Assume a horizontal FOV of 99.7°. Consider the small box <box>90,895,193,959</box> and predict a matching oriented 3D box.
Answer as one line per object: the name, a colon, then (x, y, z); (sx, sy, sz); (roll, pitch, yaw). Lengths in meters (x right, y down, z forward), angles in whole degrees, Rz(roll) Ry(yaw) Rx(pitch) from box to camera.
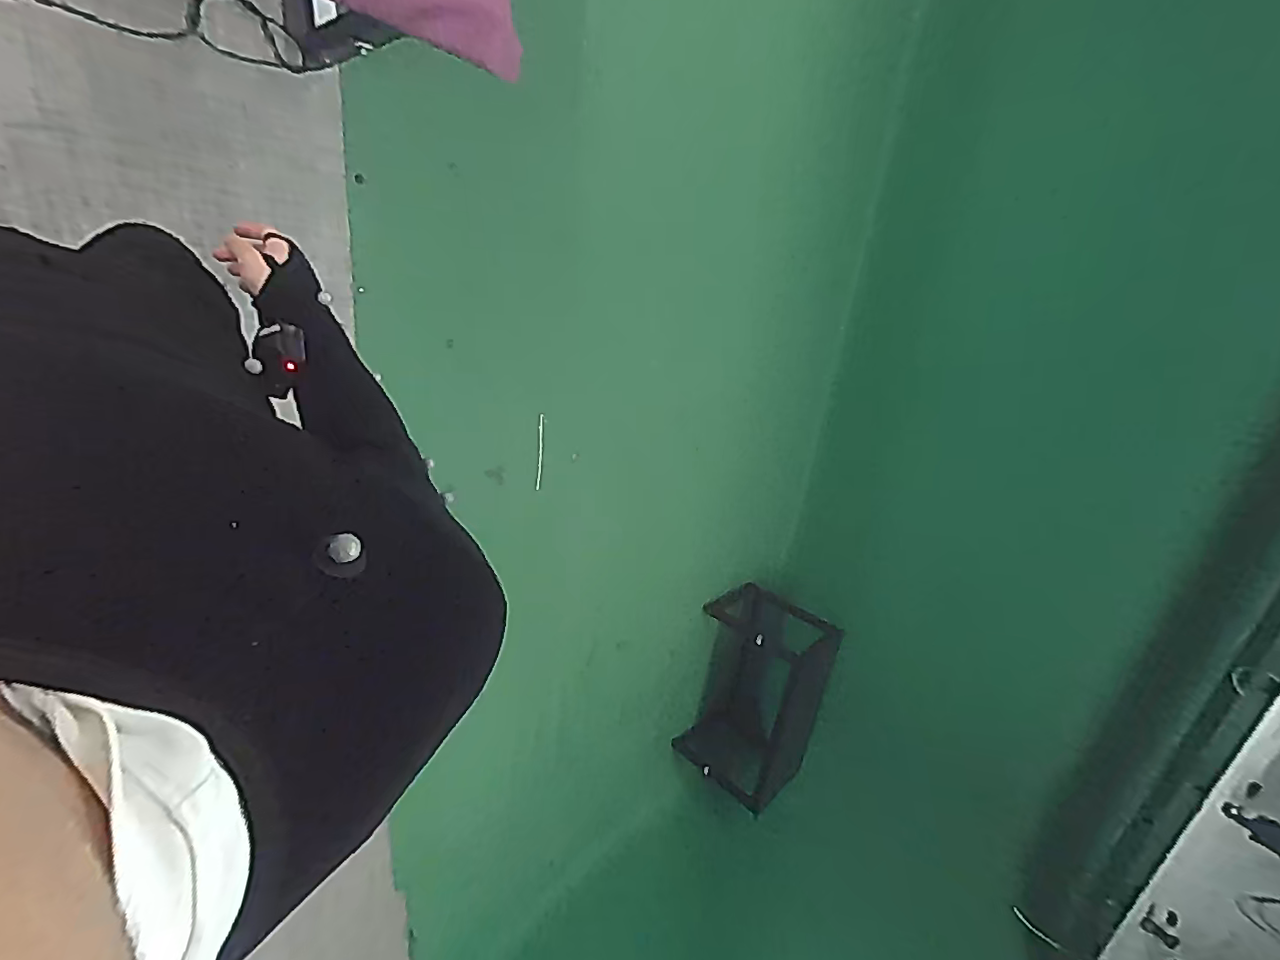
small box: (-1.266, 1.226, 1.383); (0.168, 0.176, 0.179); (-18, 123, -45)
